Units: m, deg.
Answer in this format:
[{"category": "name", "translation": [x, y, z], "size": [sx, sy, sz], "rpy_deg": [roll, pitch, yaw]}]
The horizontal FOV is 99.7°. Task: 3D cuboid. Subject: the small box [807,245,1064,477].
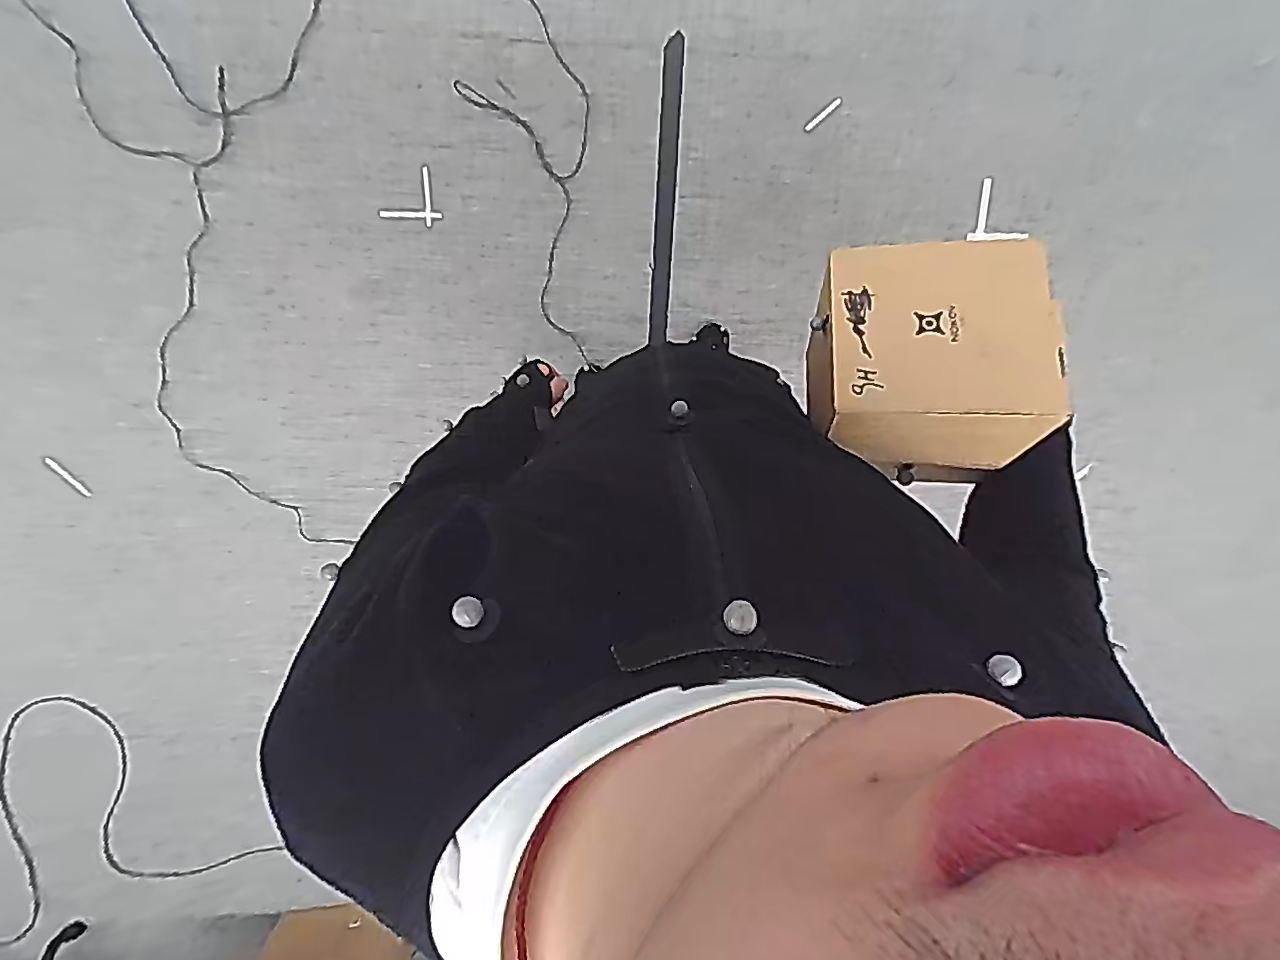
[{"category": "small box", "translation": [0.270, -0.108, 0.541], "size": [0.179, 0.176, 0.168], "rpy_deg": [2, 71, 10]}]
